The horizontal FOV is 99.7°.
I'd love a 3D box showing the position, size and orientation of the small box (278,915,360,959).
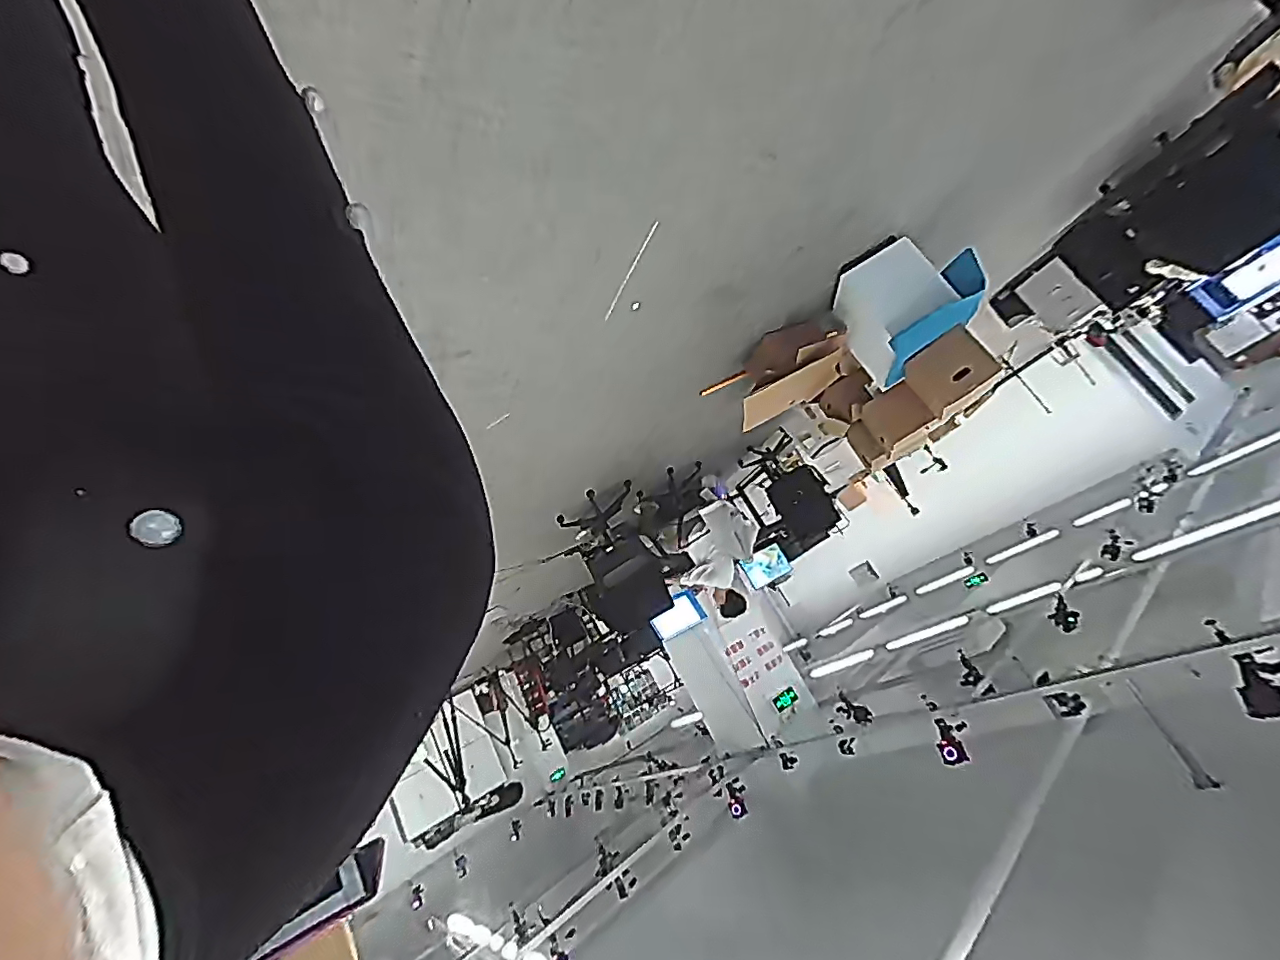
[{"bbox_3d":[-0.960,1.451,1.625,0.179,0.176,0.168,-17,159,-33],"label":"small box"}]
